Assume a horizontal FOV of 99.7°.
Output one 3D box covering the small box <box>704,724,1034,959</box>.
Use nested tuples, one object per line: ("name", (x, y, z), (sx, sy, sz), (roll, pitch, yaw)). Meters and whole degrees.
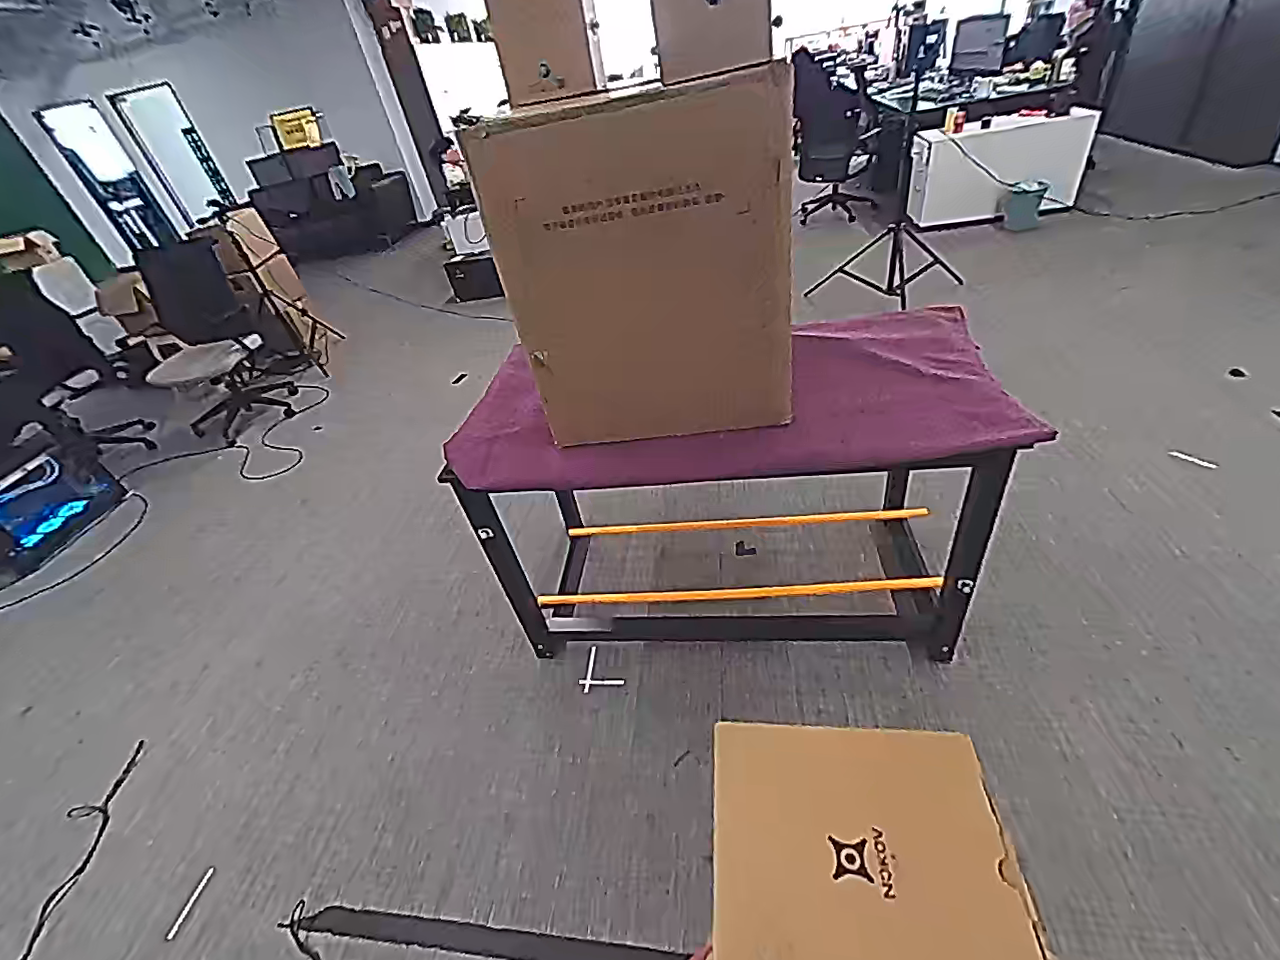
("small box", (0.141, 0.296, 0.381), (0.179, 0.176, 0.168), (-2, 38, 10))

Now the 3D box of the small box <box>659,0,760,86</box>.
("small box", (0.126, -0.826, 0.969), (0.168, 0.176, 0.179), (-4, 38, 12))
